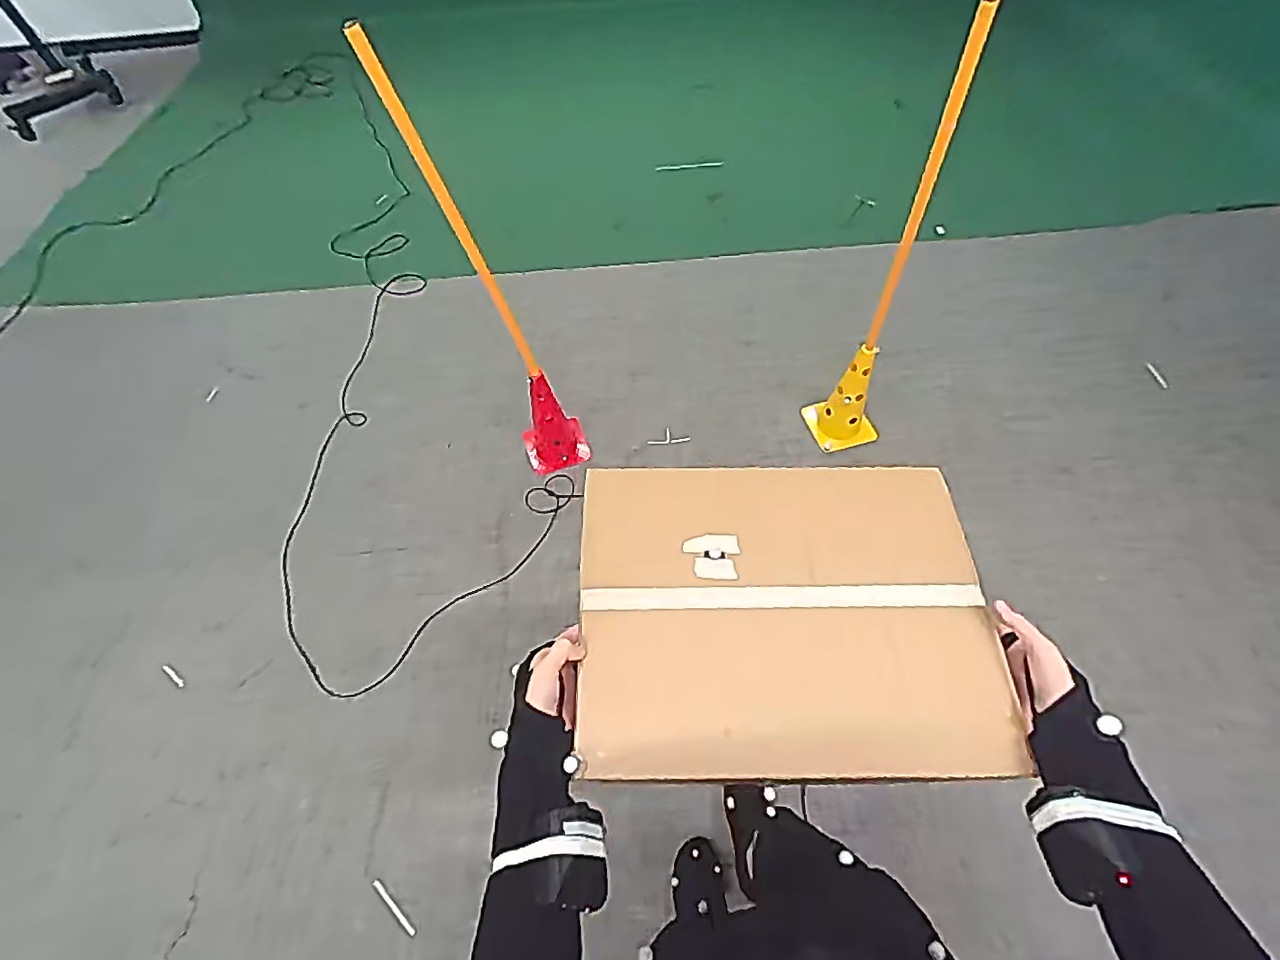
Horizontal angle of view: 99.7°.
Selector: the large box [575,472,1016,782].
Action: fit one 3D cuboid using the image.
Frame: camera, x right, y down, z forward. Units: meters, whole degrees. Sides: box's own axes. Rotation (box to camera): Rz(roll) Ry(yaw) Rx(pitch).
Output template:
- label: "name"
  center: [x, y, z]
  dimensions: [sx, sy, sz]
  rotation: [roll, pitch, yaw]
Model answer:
- label: "large box"
  center: [0.141, 0.202, 0.684]
  dimensions: [0.408, 0.320, 0.320]
  rotation: [-1, 59, 1]
